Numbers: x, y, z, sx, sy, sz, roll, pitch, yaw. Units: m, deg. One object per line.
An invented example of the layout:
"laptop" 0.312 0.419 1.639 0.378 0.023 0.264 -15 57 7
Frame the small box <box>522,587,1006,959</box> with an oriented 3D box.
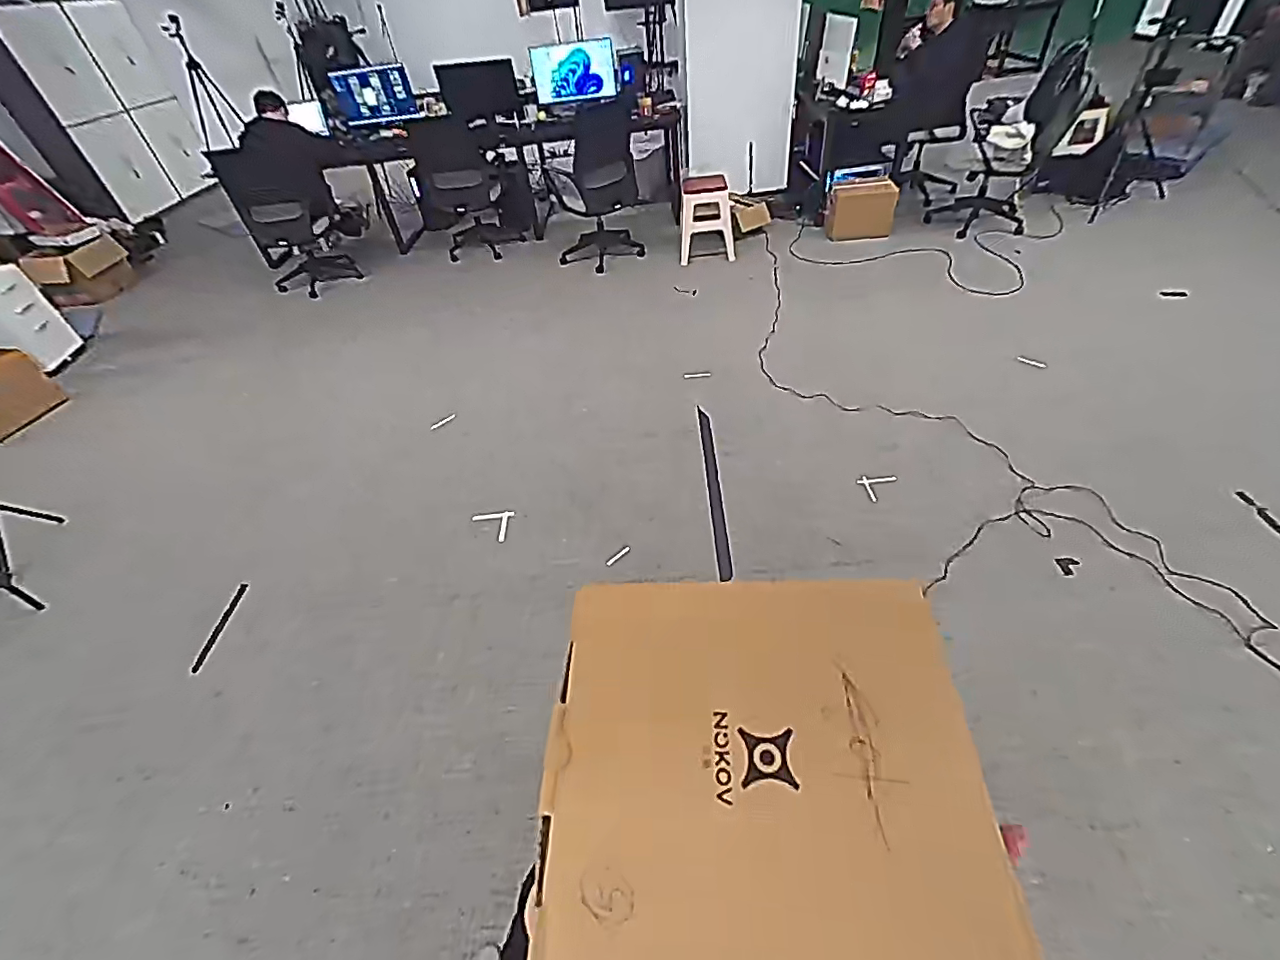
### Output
"small box" 0.052 0.173 0.300 0.179 0.176 0.168 -1 50 5
